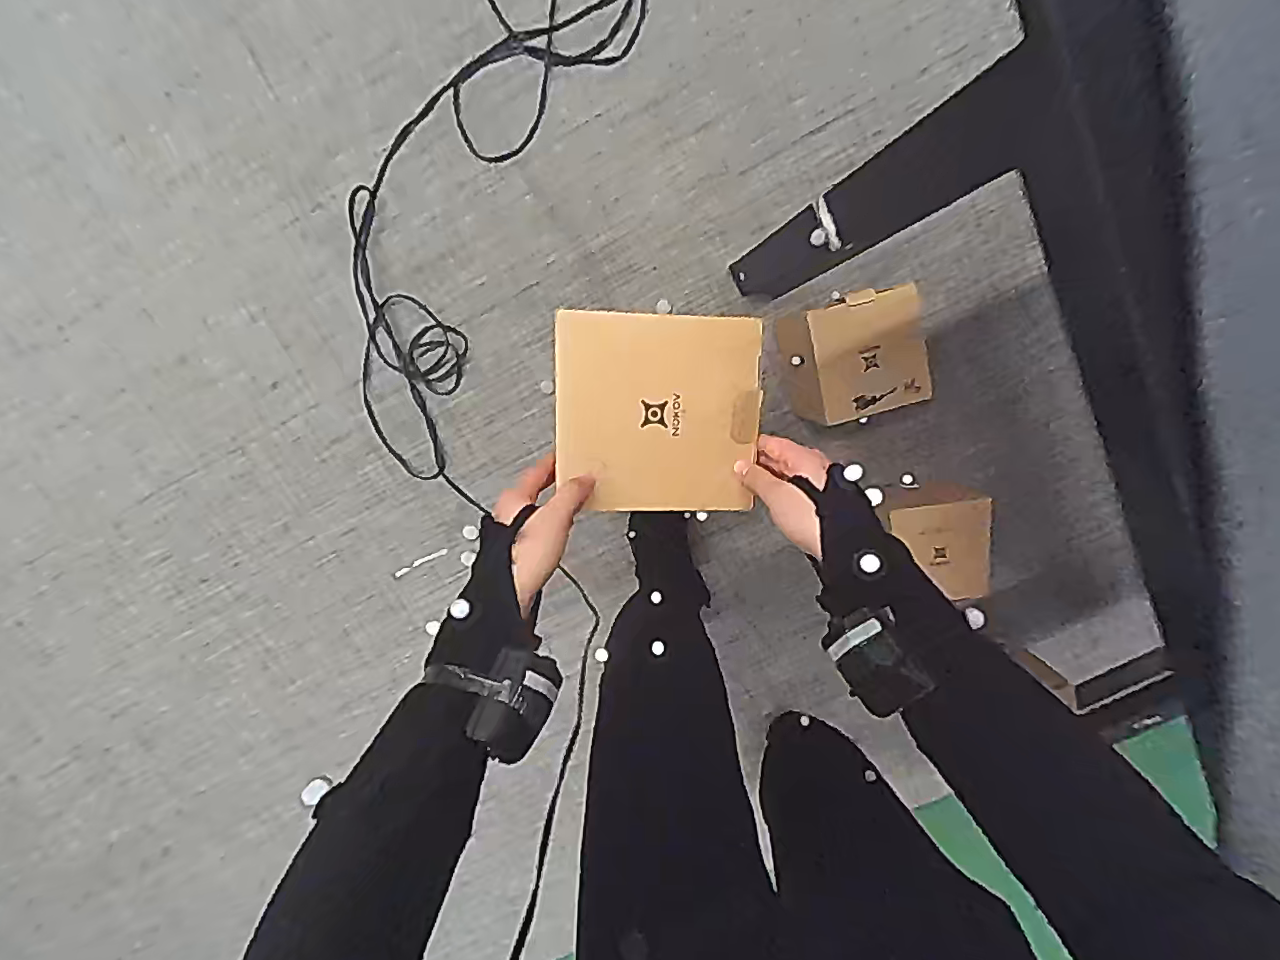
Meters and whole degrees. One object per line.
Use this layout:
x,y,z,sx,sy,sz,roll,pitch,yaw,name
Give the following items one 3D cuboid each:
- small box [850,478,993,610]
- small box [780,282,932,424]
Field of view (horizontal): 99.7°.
0.483,0.105,0.950,0.168,0.176,0.179,-7,102,-1,small box
0.338,-0.202,0.875,0.168,0.176,0.179,-15,104,2,small box
